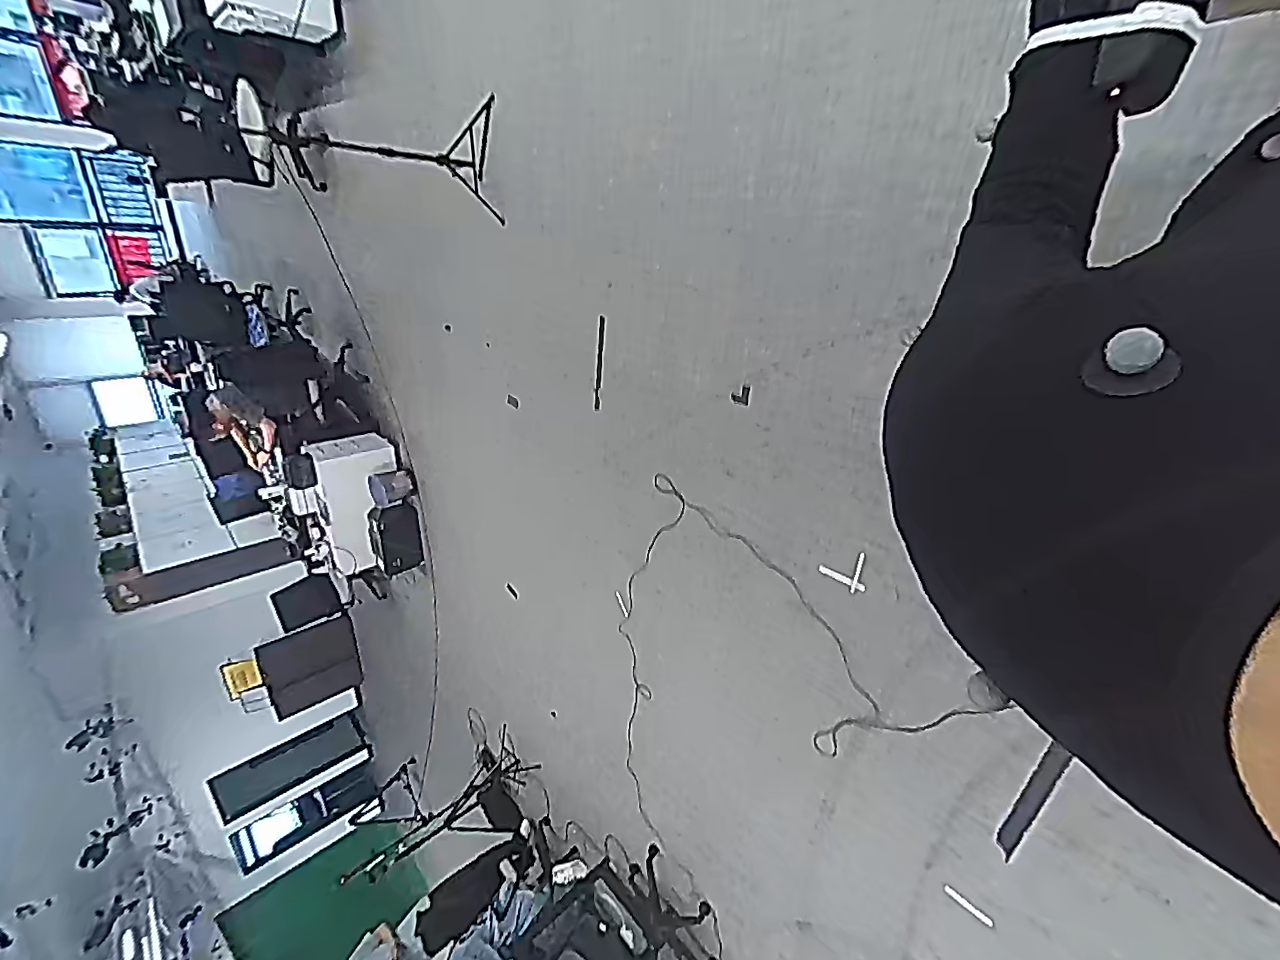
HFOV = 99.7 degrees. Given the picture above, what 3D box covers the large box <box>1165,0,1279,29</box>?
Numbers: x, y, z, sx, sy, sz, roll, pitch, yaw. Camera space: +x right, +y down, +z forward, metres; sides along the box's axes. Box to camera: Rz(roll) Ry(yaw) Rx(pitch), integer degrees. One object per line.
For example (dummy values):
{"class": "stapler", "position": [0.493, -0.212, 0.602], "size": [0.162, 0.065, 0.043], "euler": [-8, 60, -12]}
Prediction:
{"class": "large box", "position": [0.560, -0.464, 0.245], "size": [0.408, 0.320, 0.320], "euler": [18, 130, 40]}
